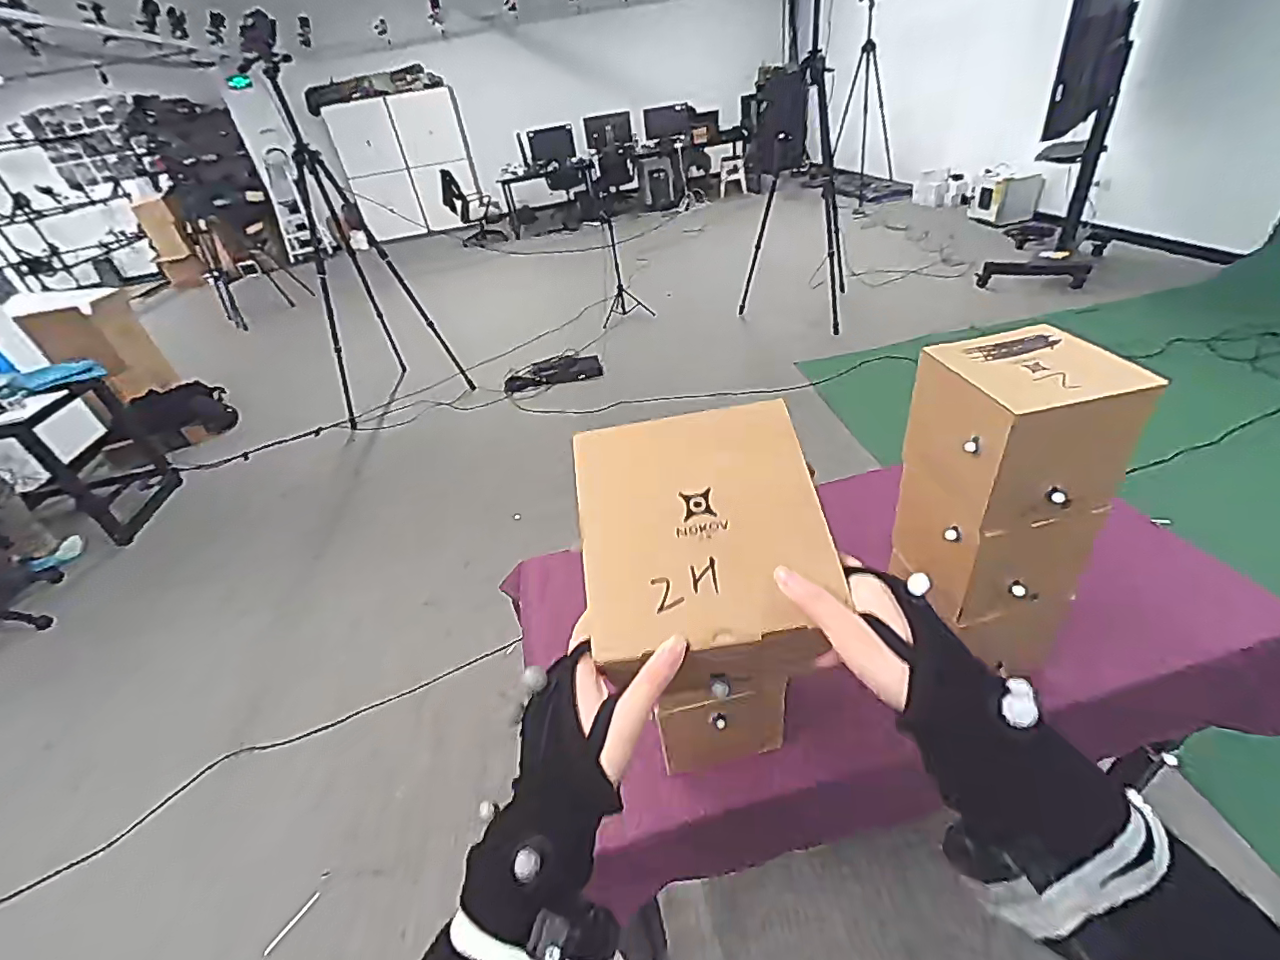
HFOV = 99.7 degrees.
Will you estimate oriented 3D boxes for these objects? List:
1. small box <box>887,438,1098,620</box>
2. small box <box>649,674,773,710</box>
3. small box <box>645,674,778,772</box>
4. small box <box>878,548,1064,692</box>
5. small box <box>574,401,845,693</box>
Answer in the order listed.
[{"bbox_3d":[0.476,0.067,0.767,0.168,0.176,0.179,-13,37,-3],"label":"small box"},{"bbox_3d":[0.079,0.174,0.718,0.179,0.176,0.168,-14,37,-3],"label":"small box"},{"bbox_3d":[0.097,0.307,0.812,0.179,0.176,0.168,-12,36,-3],"label":"small box"},{"bbox_3d":[0.503,0.203,0.854,0.179,0.176,0.168,-12,35,-4],"label":"small box"},{"bbox_3d":[0.046,0.063,0.449,0.168,0.176,0.179,-10,60,1],"label":"small box"}]
